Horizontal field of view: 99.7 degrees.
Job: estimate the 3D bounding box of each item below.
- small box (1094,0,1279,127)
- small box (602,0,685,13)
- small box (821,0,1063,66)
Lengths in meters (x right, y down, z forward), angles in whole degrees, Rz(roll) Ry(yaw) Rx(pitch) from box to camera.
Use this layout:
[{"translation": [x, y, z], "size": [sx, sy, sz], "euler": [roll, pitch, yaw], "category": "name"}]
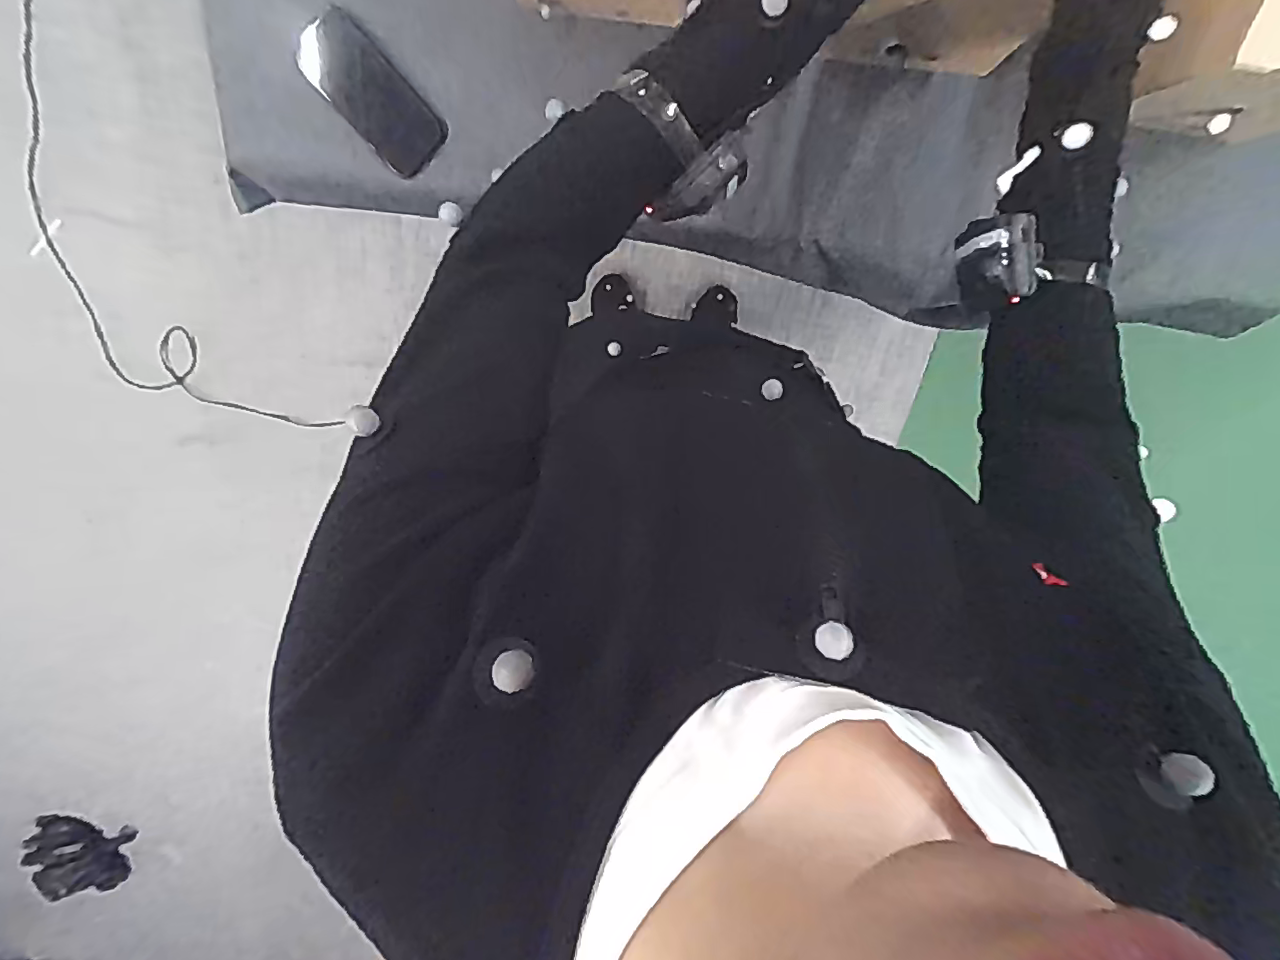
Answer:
[{"translation": [0.539, -0.415, 0.449], "size": [0.168, 0.176, 0.179], "euler": [8, 114, -1], "category": "small box"}, {"translation": [-0.030, -0.517, 0.433], "size": [0.168, 0.176, 0.179], "euler": [6, 113, 0], "category": "small box"}, {"translation": [0.247, -0.456, 0.406], "size": [0.168, 0.176, 0.179], "euler": [8, 108, 4], "category": "small box"}]
